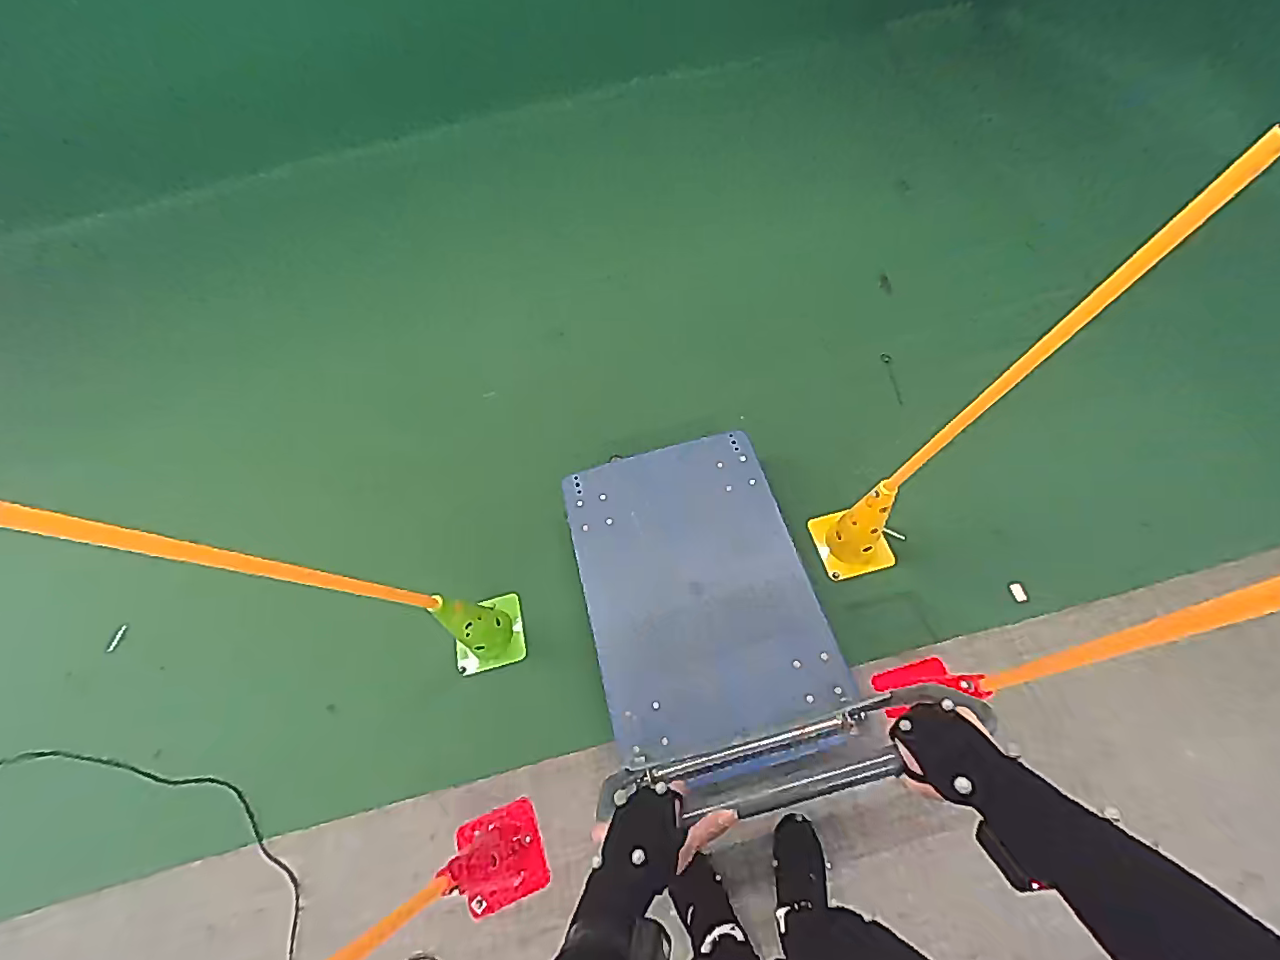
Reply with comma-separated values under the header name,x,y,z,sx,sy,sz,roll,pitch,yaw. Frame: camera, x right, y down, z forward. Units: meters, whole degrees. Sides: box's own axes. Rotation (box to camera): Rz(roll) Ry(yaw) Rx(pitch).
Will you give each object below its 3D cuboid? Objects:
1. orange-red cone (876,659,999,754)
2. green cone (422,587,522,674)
name,x,y,z,sx,sy,sz,roll,pitch,yaw
orange-red cone,0.703,0.484,1.215,0.198,0.360,0.199,-15,60,-2
green cone,-0.464,0.357,1.411,0.200,0.368,0.202,-16,60,-1
